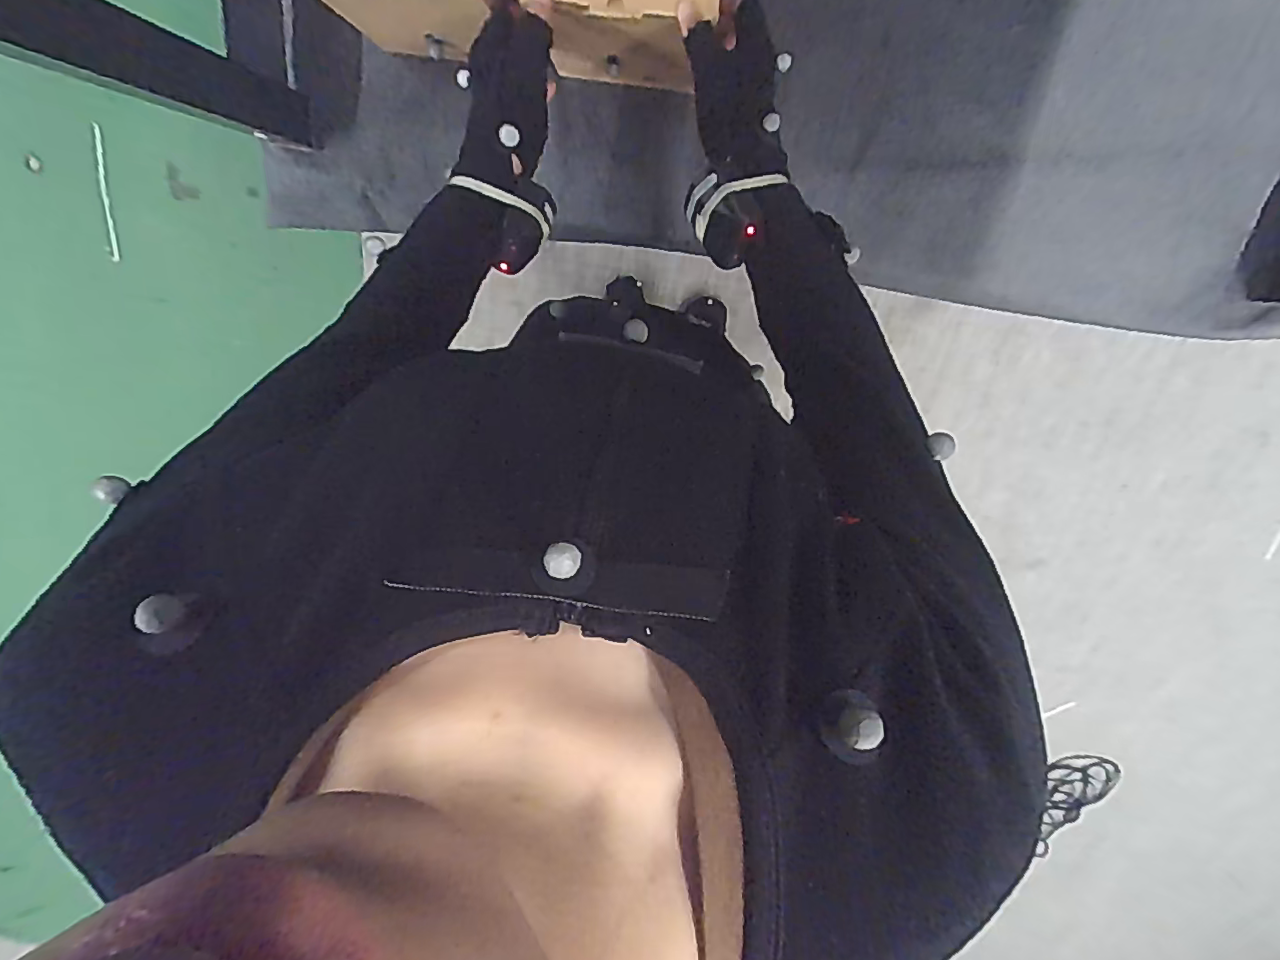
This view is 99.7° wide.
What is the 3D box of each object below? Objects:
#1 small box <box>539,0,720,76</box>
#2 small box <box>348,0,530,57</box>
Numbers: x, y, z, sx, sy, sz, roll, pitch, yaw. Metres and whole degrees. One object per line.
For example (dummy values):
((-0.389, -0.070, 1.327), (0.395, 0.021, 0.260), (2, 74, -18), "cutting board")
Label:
((-0.003, -0.493, 0.473), (0.168, 0.176, 0.179), (8, 112, 2), "small box")
((-0.194, -0.517, 0.475), (0.168, 0.176, 0.179), (8, 111, 1), "small box")
